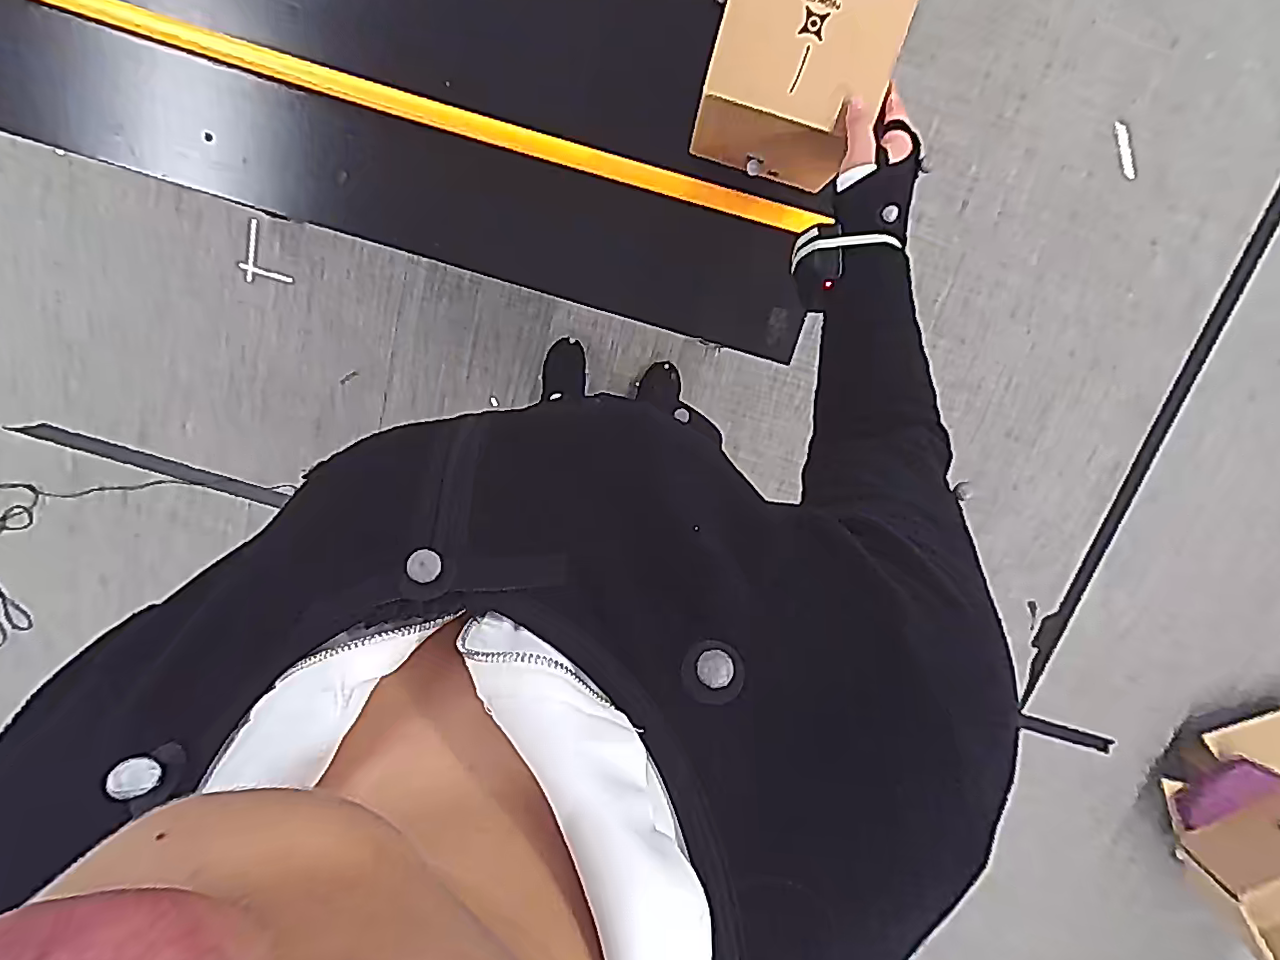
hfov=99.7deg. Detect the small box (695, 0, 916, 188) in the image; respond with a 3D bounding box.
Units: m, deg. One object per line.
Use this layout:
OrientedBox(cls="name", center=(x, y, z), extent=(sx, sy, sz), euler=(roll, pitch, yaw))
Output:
OrientedBox(cls="small box", center=(0.162, -0.442, 0.568), extent=(0.168, 0.176, 0.179), euler=(16, 104, -3))
